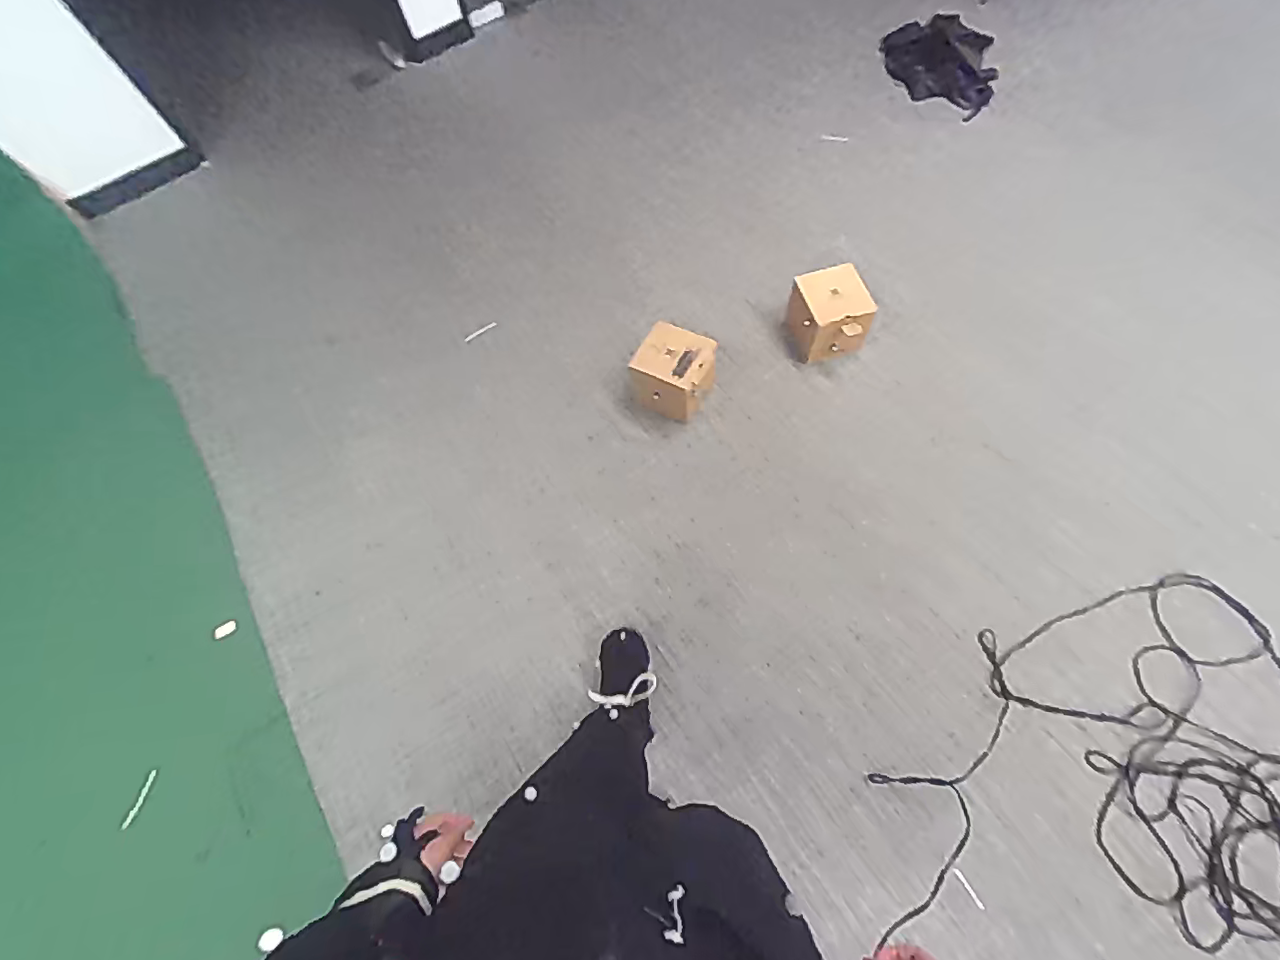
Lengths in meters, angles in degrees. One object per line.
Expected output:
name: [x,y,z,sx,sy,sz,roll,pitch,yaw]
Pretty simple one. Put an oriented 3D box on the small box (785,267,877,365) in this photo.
small box: [0.514,-0.447,1.488,0.168,0.176,0.179,-15,66,-3]
